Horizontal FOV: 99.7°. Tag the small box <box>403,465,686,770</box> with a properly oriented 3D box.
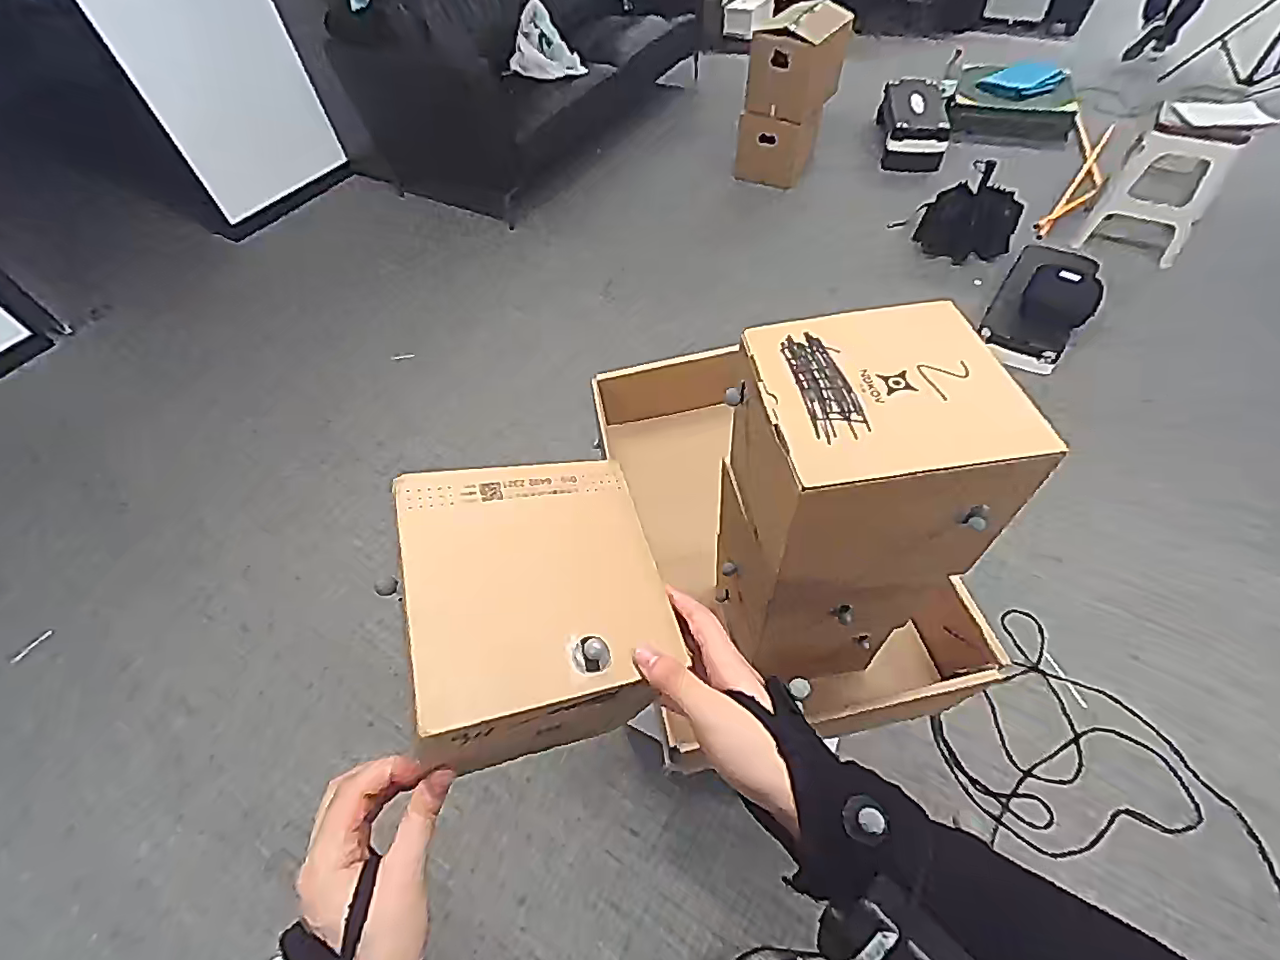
[{"bbox_3d":[-0.091,0.105,0.428,0.168,0.179,0.176,-4,57,-26],"label":"small box"}]

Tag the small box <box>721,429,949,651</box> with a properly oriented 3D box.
[{"bbox_3d":[0.195,0.072,0.602,0.179,0.176,0.168,-11,52,-1],"label":"small box"}]
